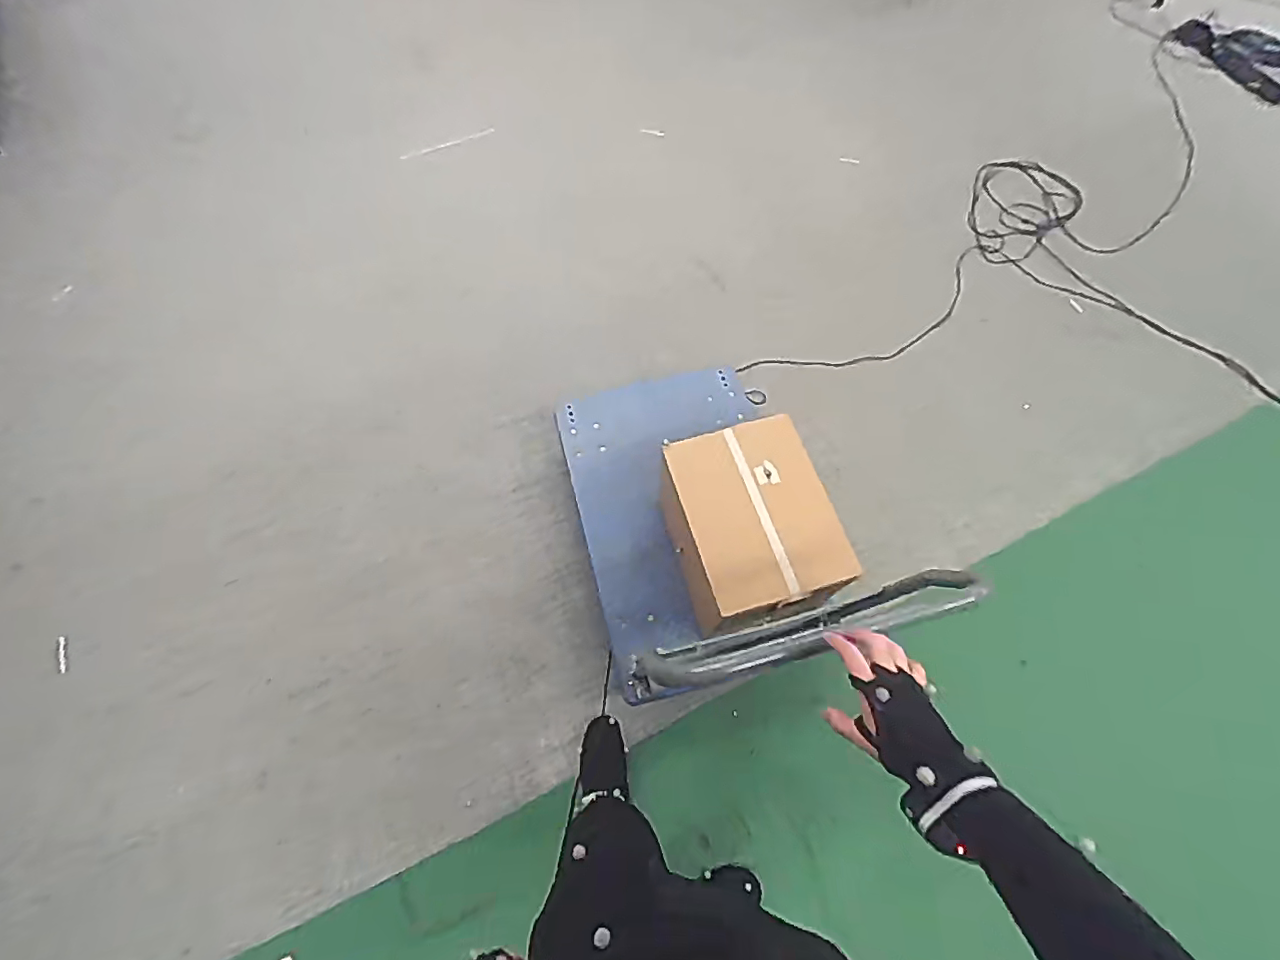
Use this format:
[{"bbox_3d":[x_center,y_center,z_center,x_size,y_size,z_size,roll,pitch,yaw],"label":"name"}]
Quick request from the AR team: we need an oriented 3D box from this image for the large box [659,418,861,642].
[{"bbox_3d":[0.250,0.129,1.296,0.320,0.320,0.408,-15,65,-8],"label":"large box"}]
